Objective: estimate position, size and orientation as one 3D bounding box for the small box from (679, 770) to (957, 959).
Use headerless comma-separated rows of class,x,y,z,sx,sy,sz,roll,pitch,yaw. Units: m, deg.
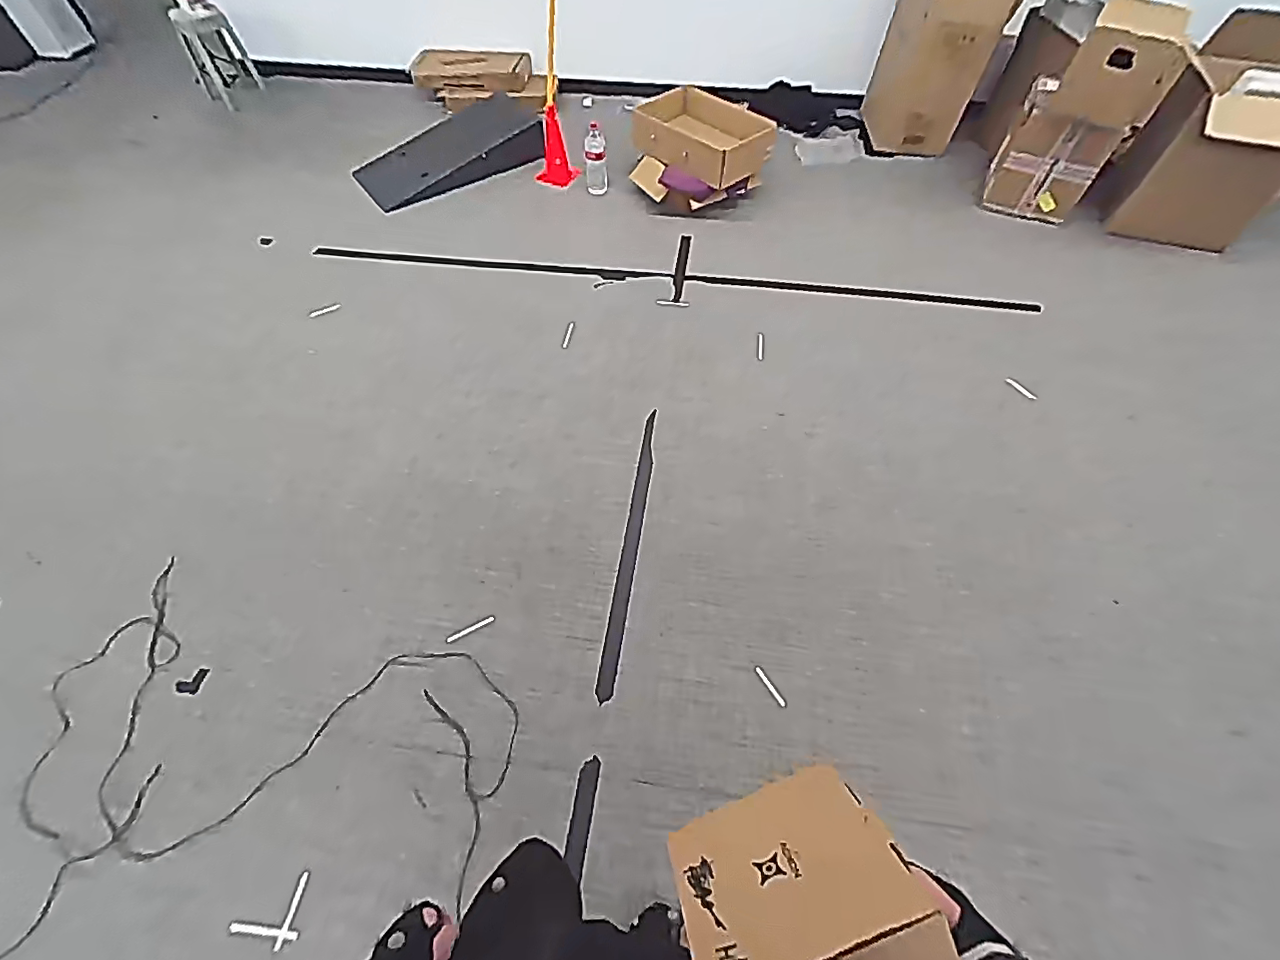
small box,0.152,0.399,0.460,0.179,0.168,0.176,-21,96,-4
